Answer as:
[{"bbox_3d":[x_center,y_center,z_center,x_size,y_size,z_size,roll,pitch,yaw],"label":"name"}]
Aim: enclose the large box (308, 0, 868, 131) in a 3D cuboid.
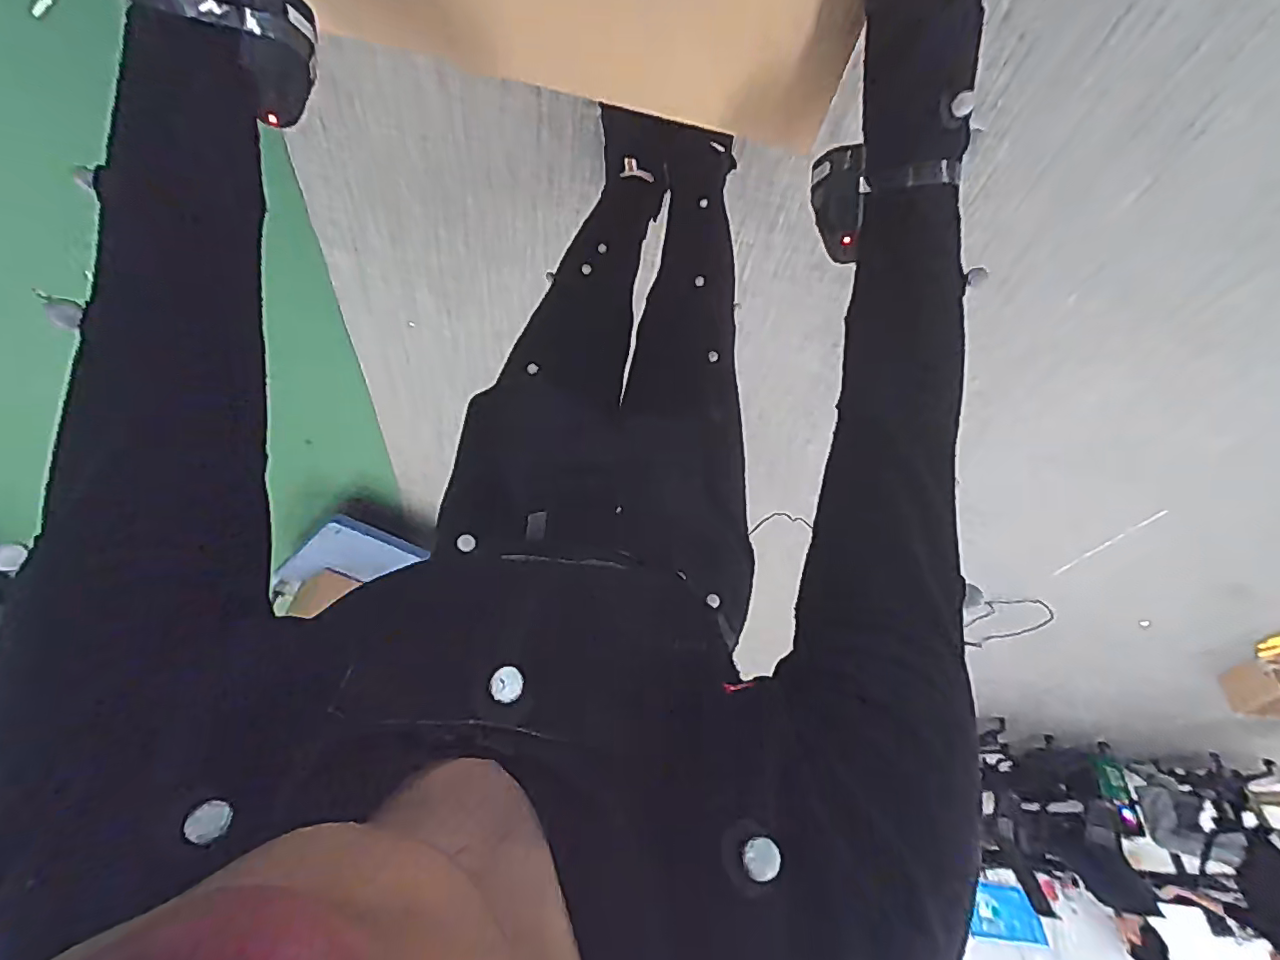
[{"bbox_3d":[-0.016,-0.521,0.397,0.408,0.320,0.320,10,142,-6],"label":"large box"}]
